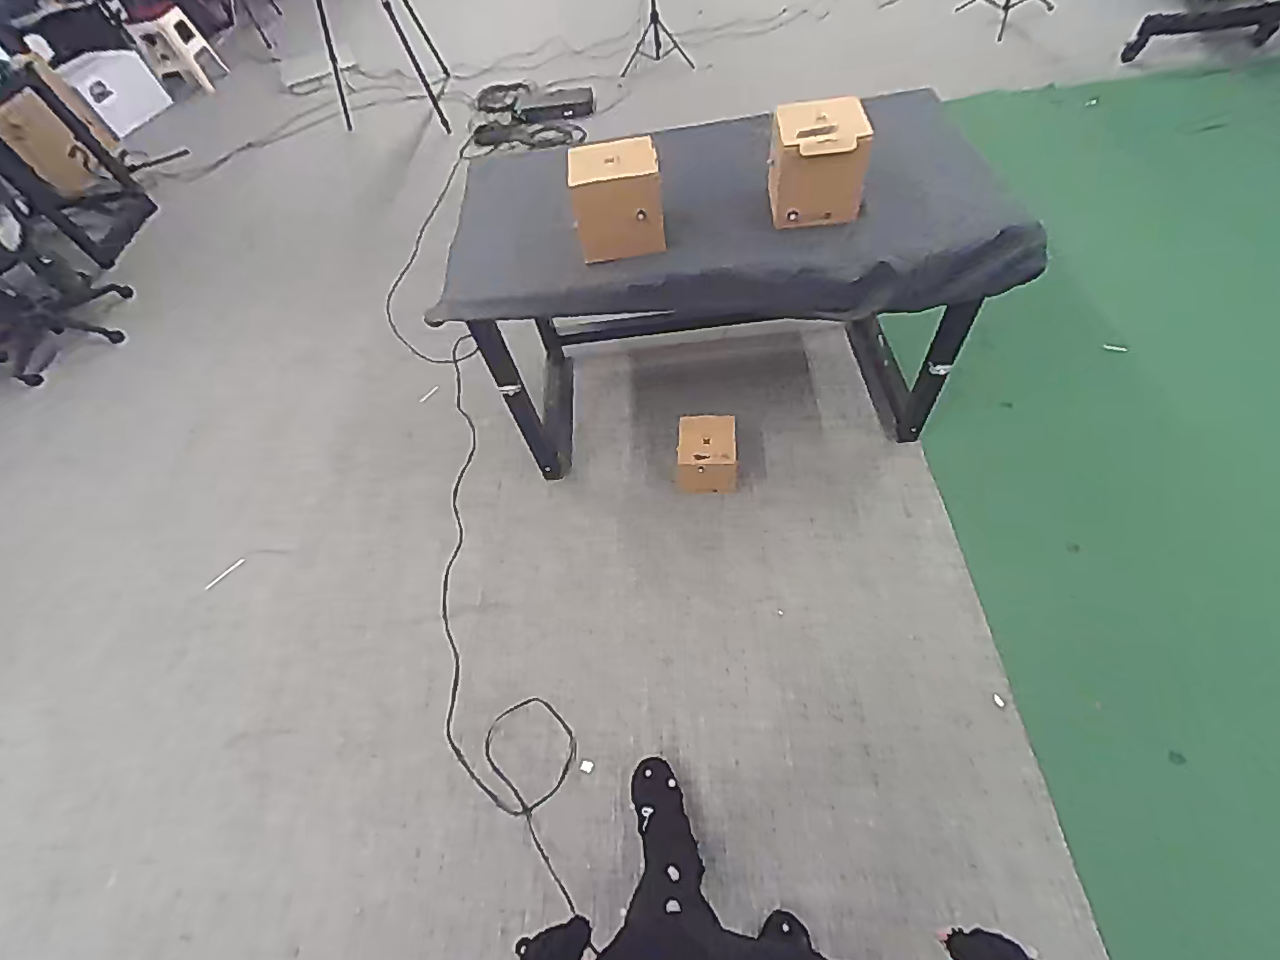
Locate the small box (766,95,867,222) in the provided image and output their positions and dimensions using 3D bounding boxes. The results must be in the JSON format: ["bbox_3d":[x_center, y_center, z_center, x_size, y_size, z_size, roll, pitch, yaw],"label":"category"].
[{"bbox_3d":[0.354,-0.654,1.116,0.168,0.176,0.179,-2,56,7],"label":"small box"}]

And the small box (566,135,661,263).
[{"bbox_3d":[-0.052,-0.585,1.134,0.179,0.176,0.168,-9,54,3],"label":"small box"}]
